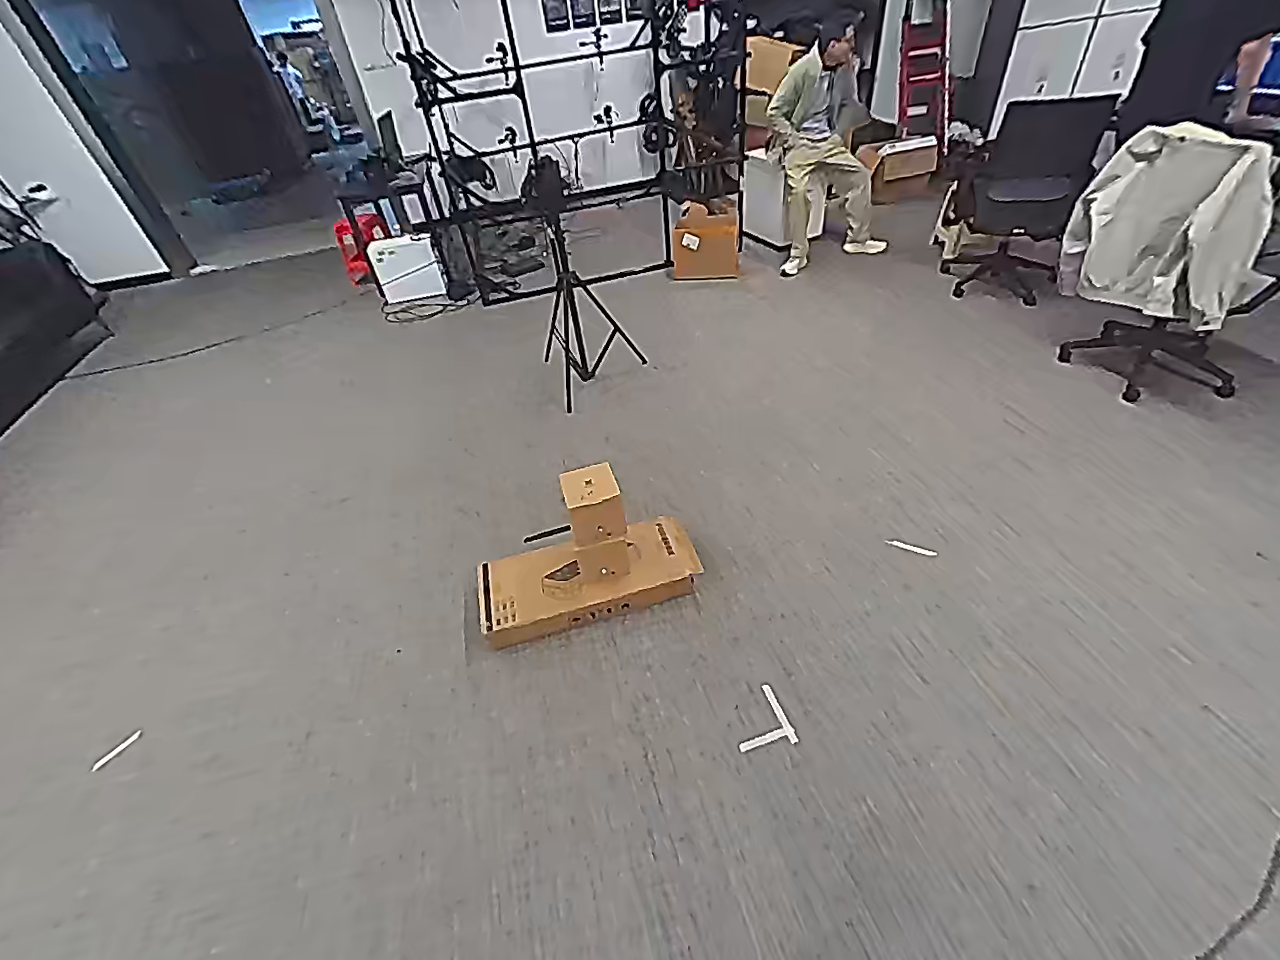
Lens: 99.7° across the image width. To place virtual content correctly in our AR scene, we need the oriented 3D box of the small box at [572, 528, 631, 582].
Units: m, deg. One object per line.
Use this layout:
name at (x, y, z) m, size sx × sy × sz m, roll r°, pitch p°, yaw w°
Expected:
small box at (-0.131, 0.213, 1.814) m, size 0.168 × 0.176 × 0.179 m, roll -13°, pitch 41°, yaw -5°

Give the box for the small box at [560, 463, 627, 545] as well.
small box at (-0.148, 0.078, 1.719) m, size 0.168 × 0.176 × 0.179 m, roll -16°, pitch 41°, yaw -8°
